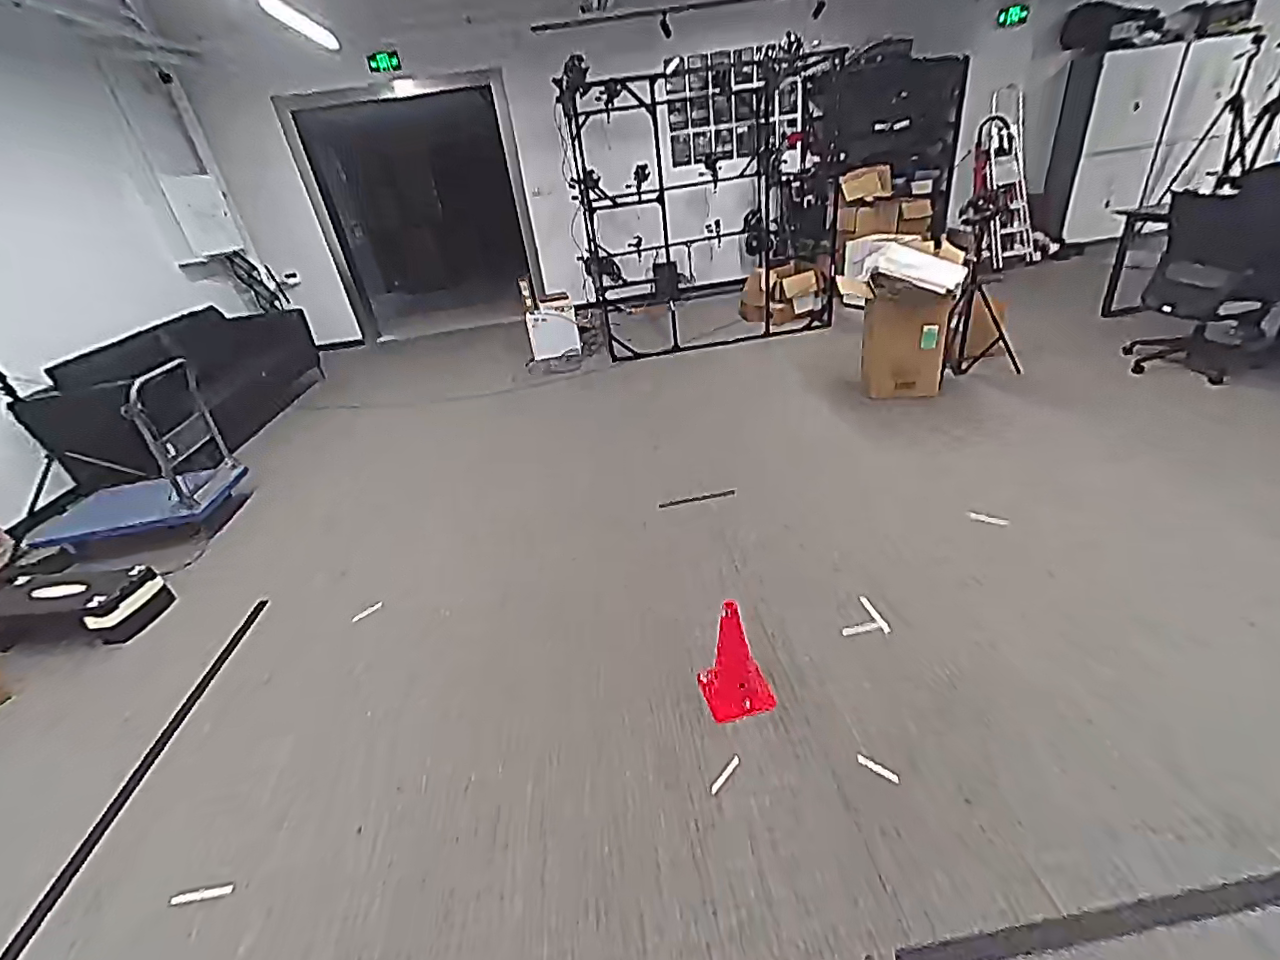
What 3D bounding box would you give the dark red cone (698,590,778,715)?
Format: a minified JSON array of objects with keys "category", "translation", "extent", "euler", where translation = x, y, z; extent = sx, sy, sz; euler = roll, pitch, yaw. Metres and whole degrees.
[{"category":"dark red cone","translation":[0.274,0.478,1.565],"extent":[0.202,0.394,0.201],"euler":[-14,31,-9]}]
